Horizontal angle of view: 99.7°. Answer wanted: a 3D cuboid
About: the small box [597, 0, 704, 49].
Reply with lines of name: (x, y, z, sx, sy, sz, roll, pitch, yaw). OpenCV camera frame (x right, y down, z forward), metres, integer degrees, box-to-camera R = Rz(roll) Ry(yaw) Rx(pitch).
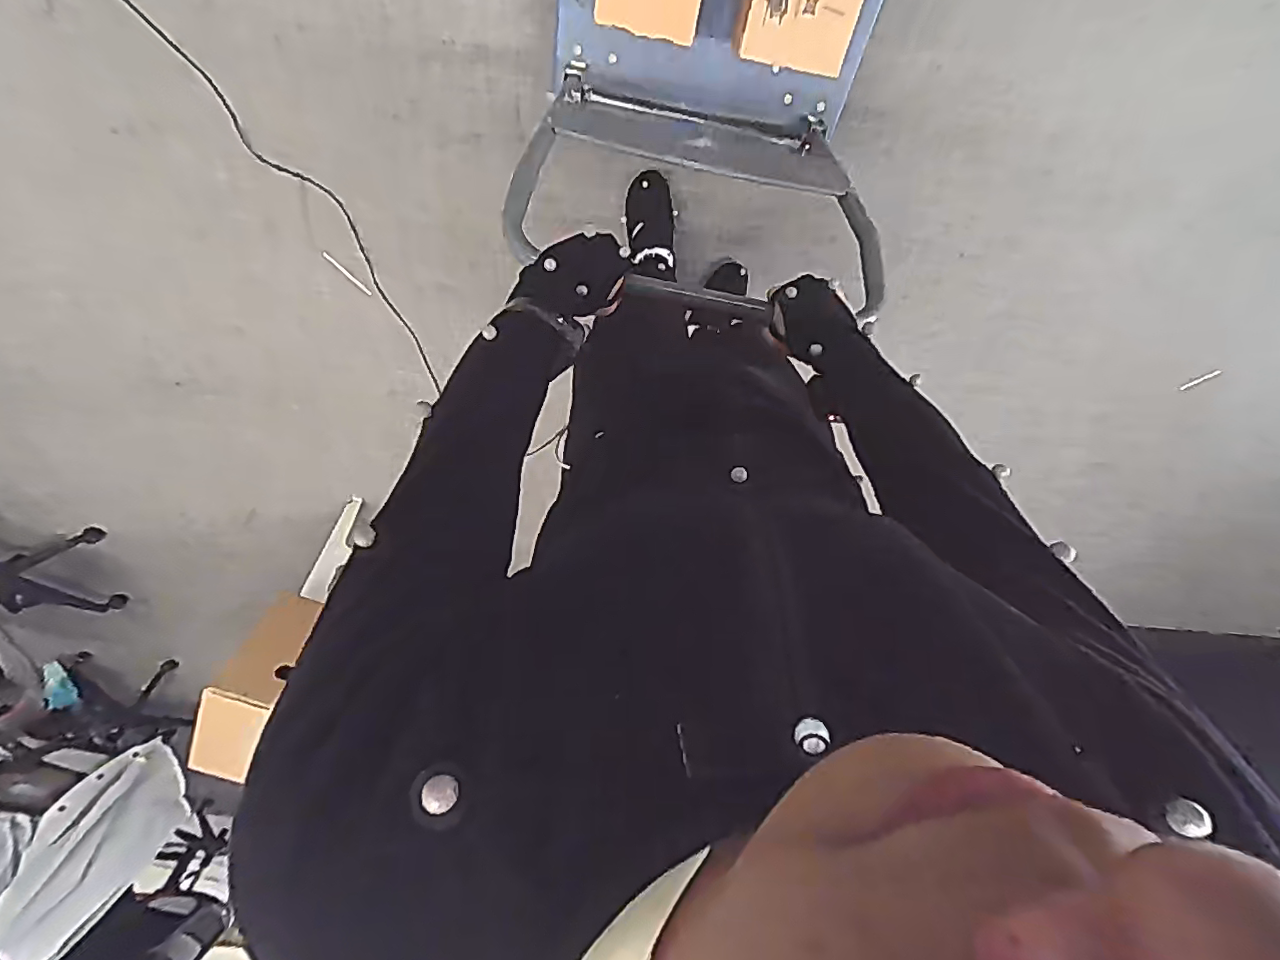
small box: (0.029, -0.840, 0.877, 0.168, 0.176, 0.179, 10, 136, -6)
